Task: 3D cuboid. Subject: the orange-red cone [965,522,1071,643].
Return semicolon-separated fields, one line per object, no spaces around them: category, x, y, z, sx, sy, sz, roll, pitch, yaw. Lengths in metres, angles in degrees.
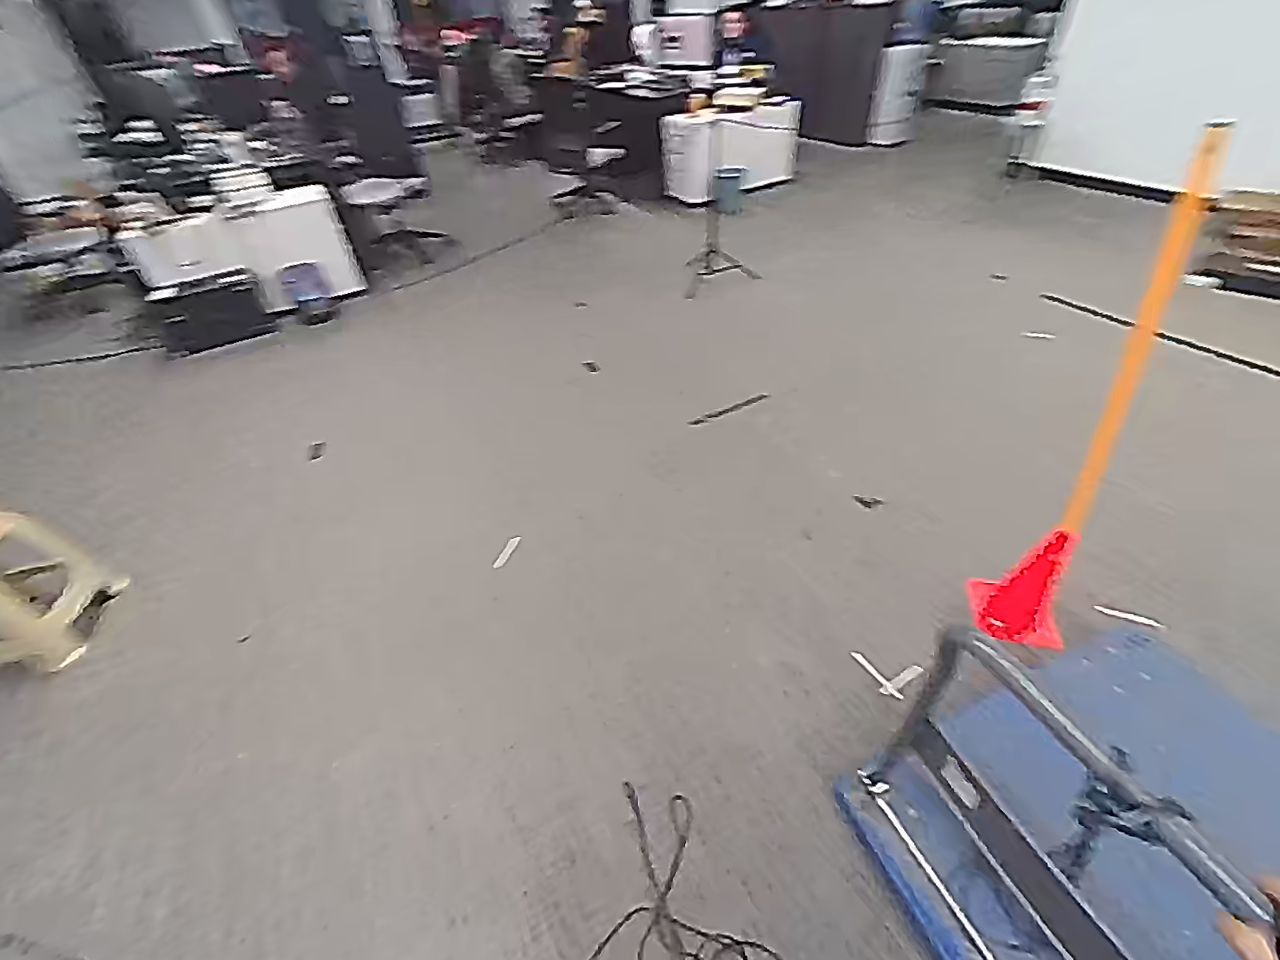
orange-red cone;1.037;0.241;1.429;0.199;0.360;0.198;9;45;13
